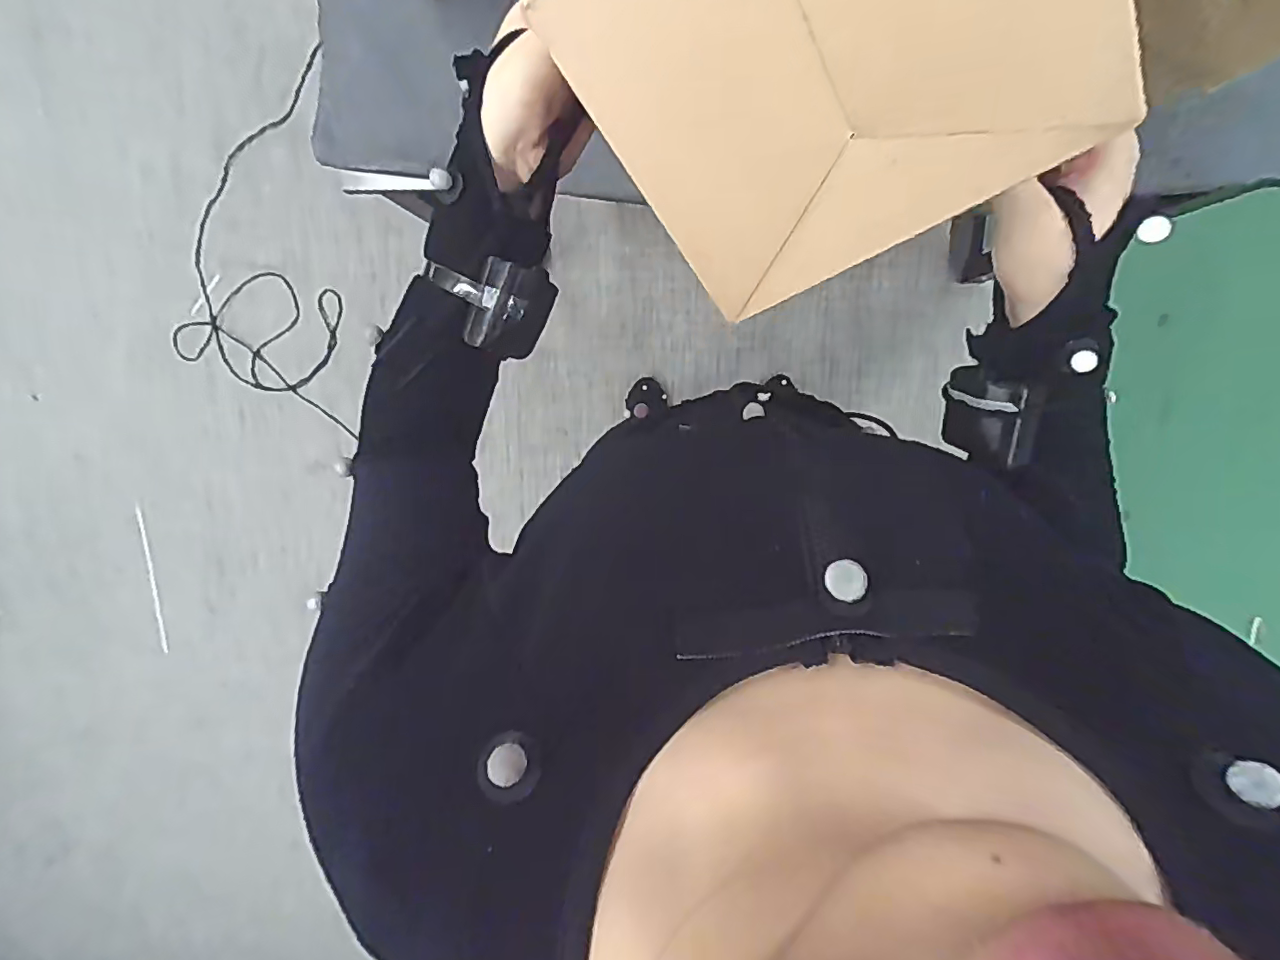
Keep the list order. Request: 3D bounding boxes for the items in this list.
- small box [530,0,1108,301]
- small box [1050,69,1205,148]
[{"bbox_3d":[0.081,-0.219,0.257,0.179,0.176,0.168,-19,129,35],"label":"small box"},{"bbox_3d":[0.450,-0.470,0.548,0.168,0.176,0.179,3,100,5],"label":"small box"}]
